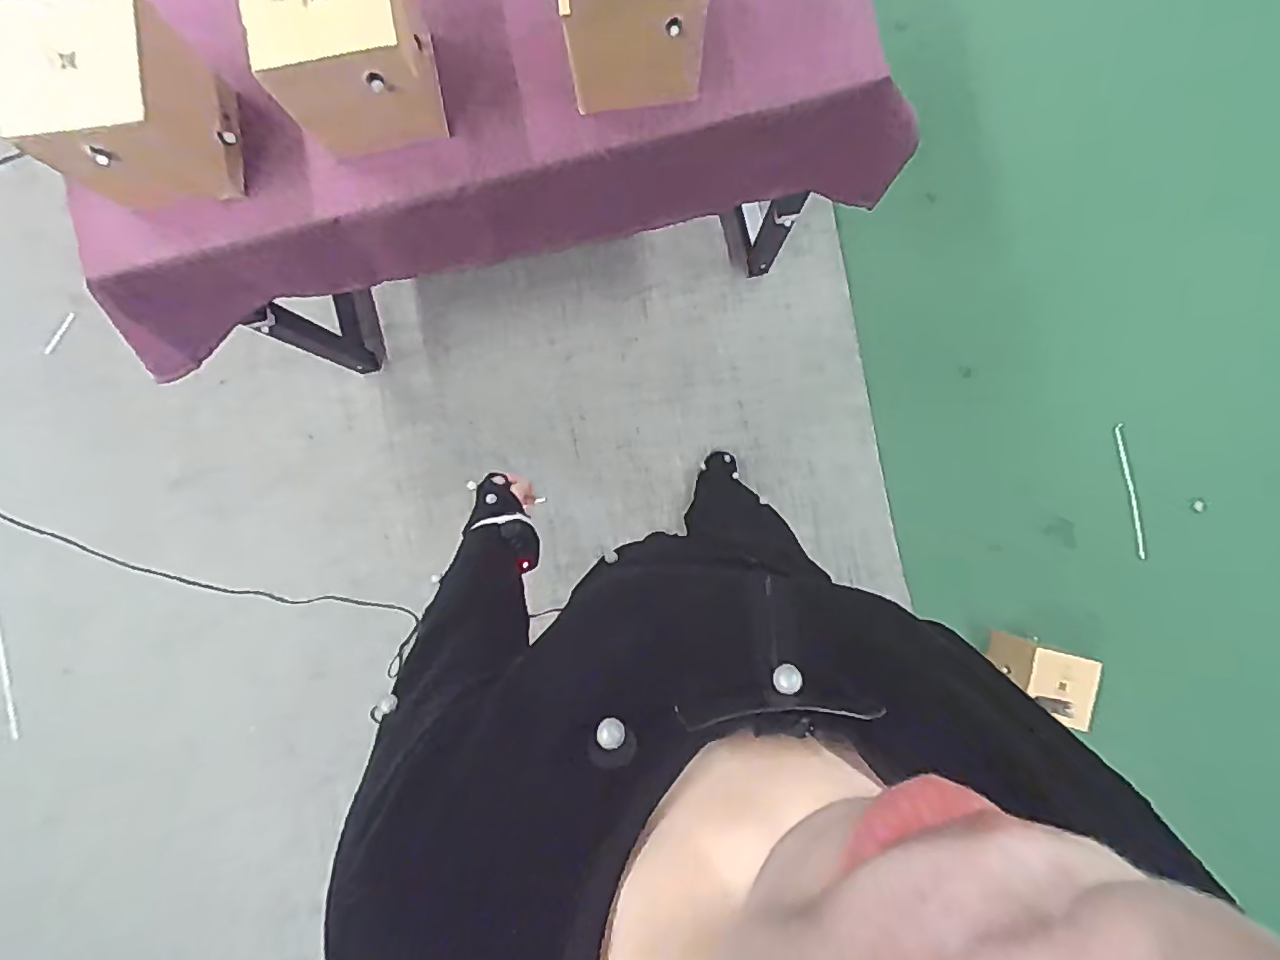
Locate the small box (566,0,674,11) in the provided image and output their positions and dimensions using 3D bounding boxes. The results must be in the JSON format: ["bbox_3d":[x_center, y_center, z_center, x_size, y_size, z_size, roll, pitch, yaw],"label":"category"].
[{"bbox_3d":[-0.018,-0.625,0.545,0.168,0.176,0.179,-11,89,0],"label":"small box"}]

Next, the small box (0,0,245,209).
[{"bbox_3d":[-0.671,-0.482,0.712,0.179,0.176,0.168,-6,89,0],"label":"small box"}]

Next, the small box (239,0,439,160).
[{"bbox_3d":[-0.380,-0.559,0.710,0.179,0.176,0.168,-10,87,0],"label":"small box"}]

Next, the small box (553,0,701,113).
[{"bbox_3d":[-0.019,-0.619,0.709,0.179,0.176,0.168,-7,88,0],"label":"small box"}]
